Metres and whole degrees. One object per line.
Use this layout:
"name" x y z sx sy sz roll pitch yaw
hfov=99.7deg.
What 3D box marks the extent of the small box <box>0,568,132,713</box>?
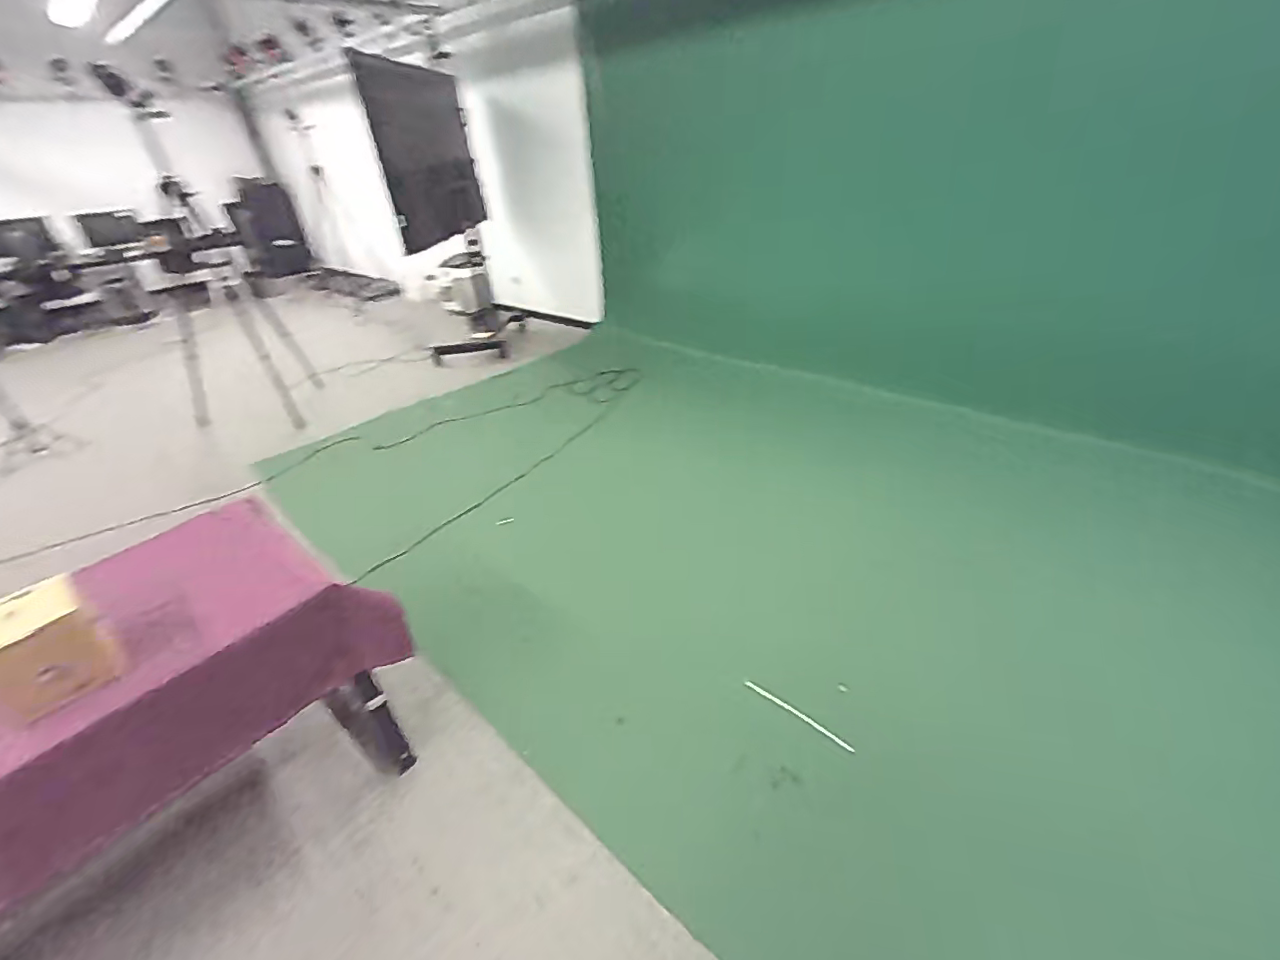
"small box" -1.116 0.305 1.022 0.179 0.176 0.168 23 42 35
